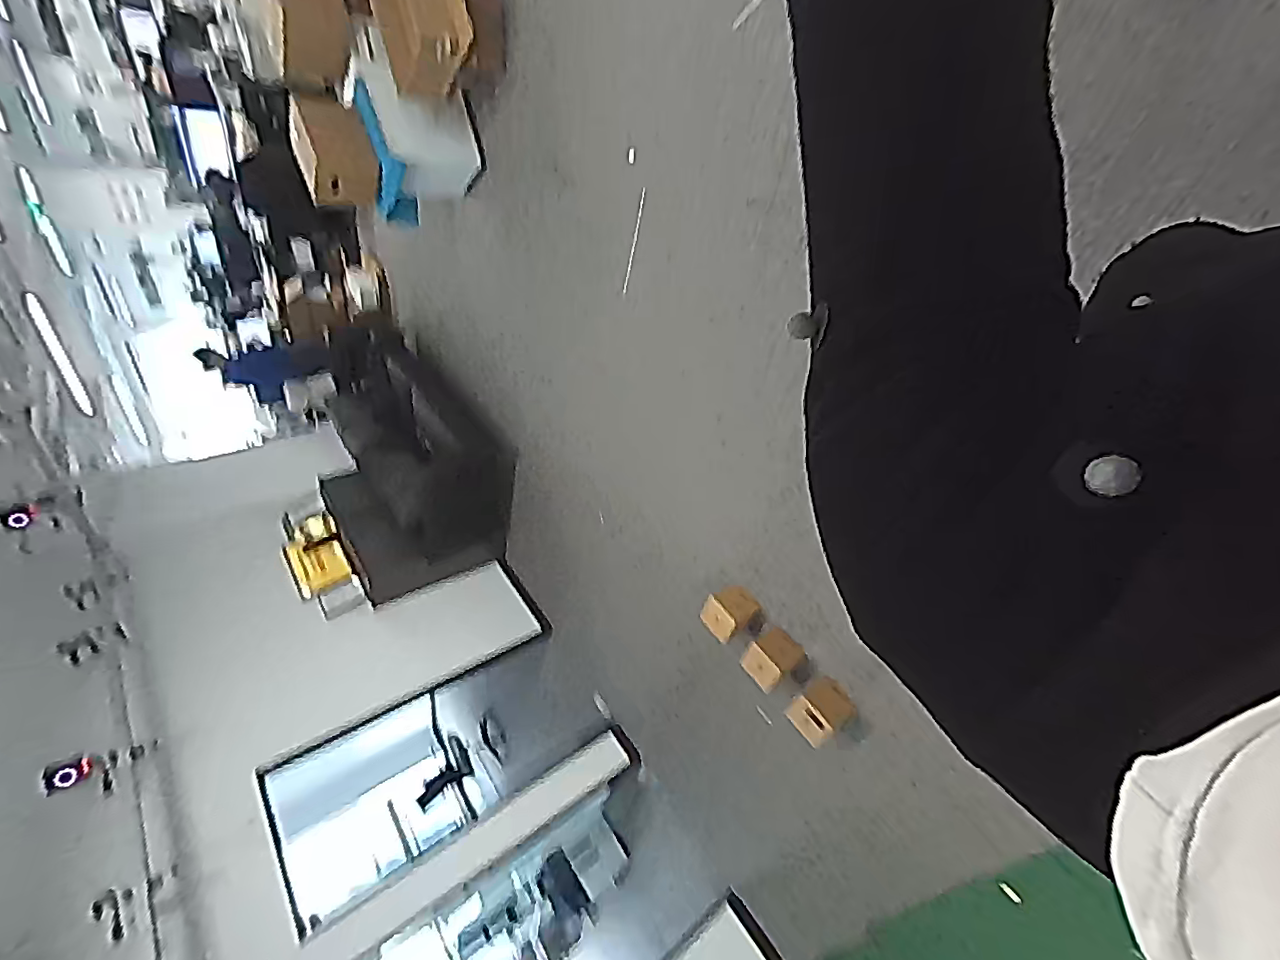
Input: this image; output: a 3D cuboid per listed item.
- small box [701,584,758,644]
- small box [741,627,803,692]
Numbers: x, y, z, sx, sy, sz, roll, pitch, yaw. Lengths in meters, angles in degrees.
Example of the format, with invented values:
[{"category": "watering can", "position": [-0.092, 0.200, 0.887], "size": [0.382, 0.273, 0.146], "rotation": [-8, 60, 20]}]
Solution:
[{"category": "small box", "position": [0.412, 0.603, 2.459], "size": [0.168, 0.176, 0.179], "rotation": [46, 138, 30]}, {"category": "small box", "position": [0.571, 0.766, 2.318], "size": [0.168, 0.176, 0.179], "rotation": [46, 138, 31]}]
